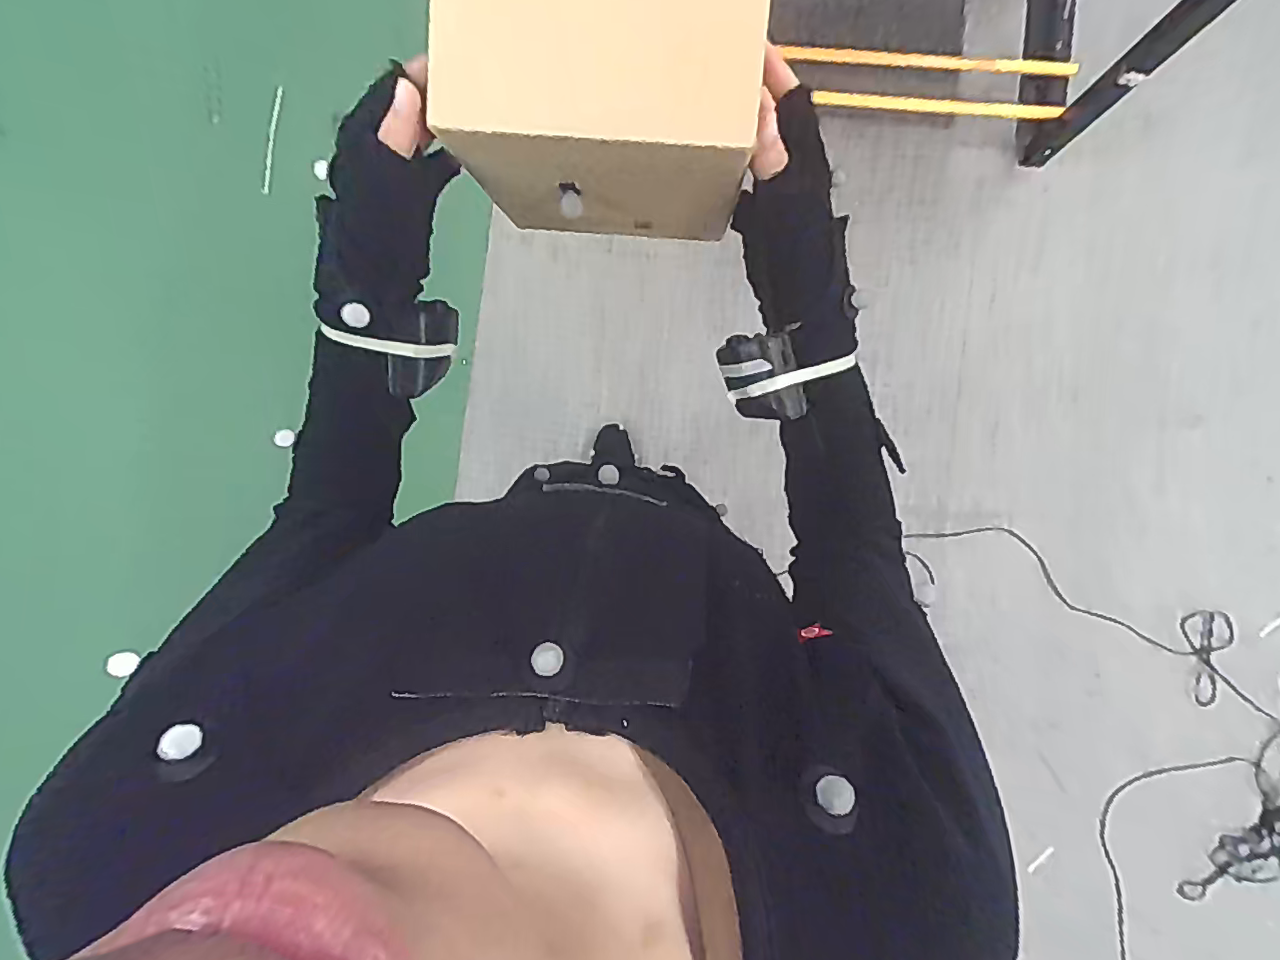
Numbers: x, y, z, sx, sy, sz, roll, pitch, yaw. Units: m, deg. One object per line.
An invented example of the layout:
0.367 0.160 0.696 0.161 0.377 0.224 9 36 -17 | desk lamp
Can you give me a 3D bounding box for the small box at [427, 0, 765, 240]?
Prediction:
-0.014 -0.264 0.334 0.168 0.176 0.179 5 97 2 | small box
